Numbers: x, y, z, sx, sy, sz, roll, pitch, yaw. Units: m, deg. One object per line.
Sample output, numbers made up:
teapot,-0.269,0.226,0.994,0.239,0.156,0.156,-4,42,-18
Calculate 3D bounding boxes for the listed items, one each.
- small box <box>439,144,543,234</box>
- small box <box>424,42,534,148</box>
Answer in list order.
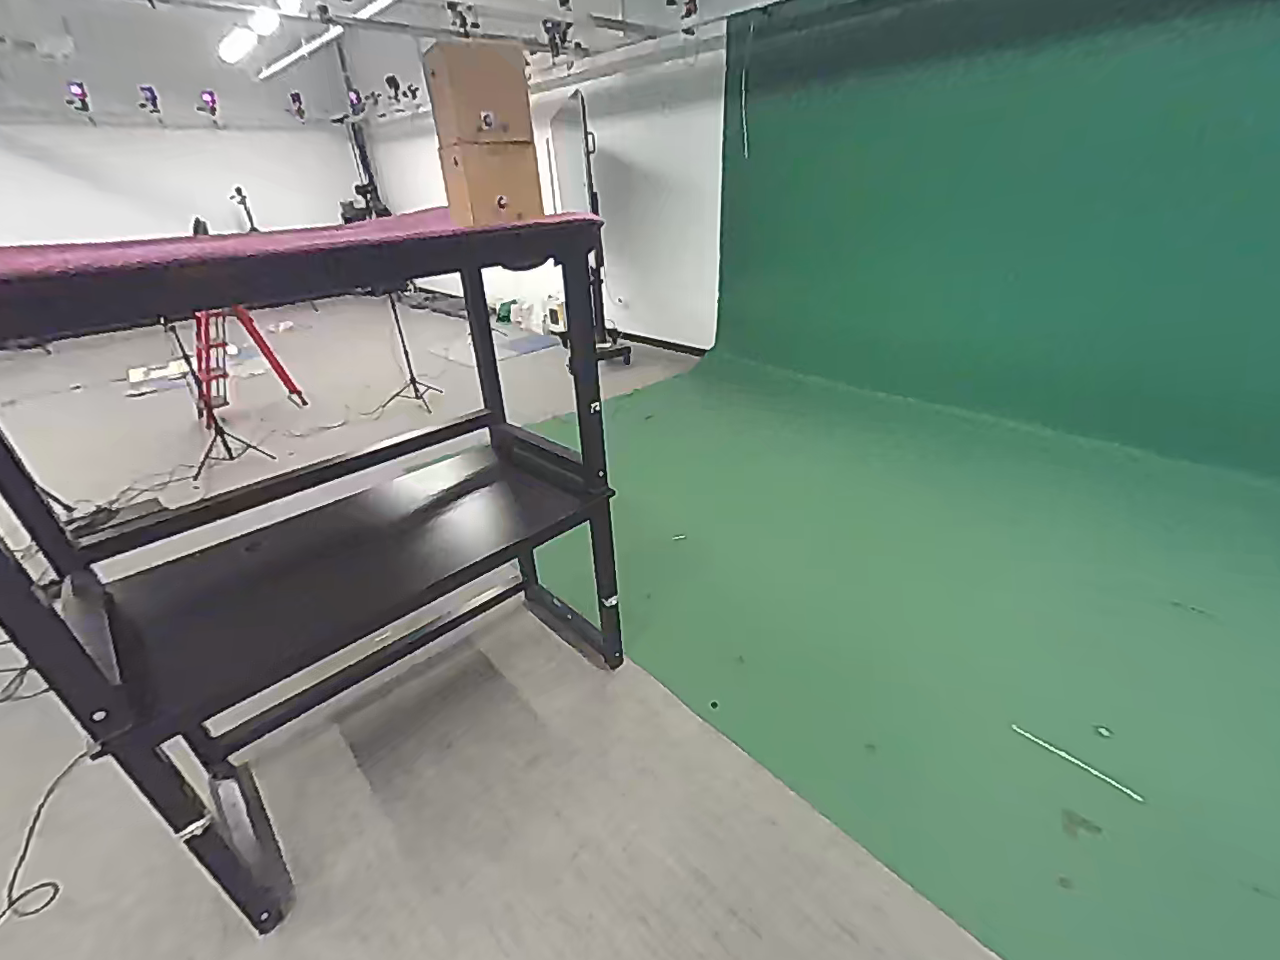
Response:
small box,-0.332,-0.650,1.211,0.168,0.176,0.179,-20,35,-28
small box,-0.334,-0.788,1.126,0.168,0.176,0.179,-19,35,-24
